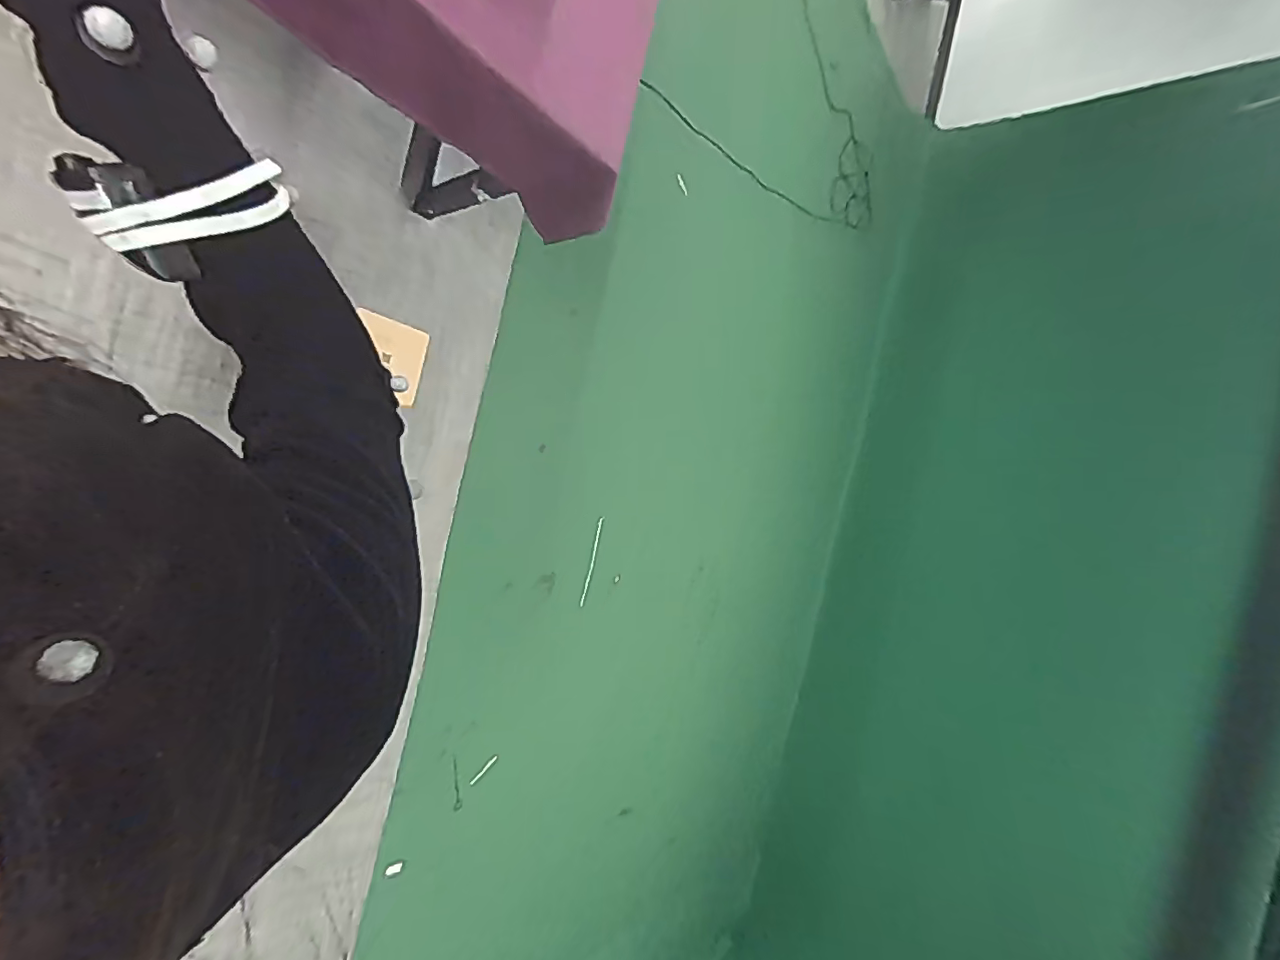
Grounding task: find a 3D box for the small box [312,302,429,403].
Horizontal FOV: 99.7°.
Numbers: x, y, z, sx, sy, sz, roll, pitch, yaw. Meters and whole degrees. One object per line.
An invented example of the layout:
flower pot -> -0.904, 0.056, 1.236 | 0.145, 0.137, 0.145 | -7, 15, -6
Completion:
small box -> -0.610, -0.283, 1.217 | 0.168, 0.176, 0.179 | 13, 89, -51
